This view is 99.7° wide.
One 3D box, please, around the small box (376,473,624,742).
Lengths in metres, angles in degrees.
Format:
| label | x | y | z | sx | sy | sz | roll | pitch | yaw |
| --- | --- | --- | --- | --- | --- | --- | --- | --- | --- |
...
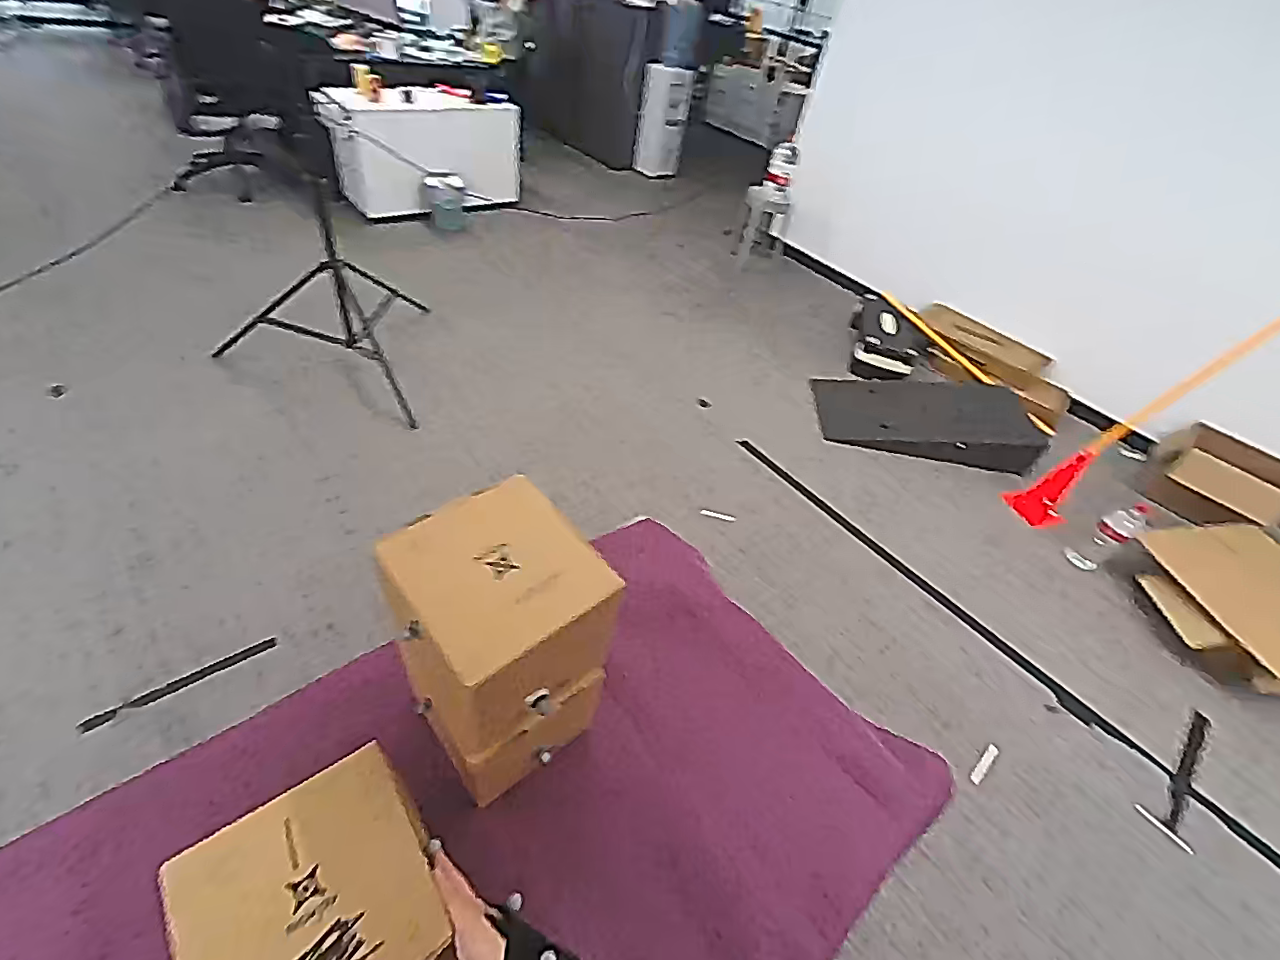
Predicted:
| label | x | y | z | sx | sy | sz | roll | pitch | yaw |
| --- | --- | --- | --- | --- | --- | --- | --- | --- | --- |
| small box | -0.143 | 0.131 | 0.560 | 0.168 | 0.176 | 0.179 | -30 | 60 | -33 |

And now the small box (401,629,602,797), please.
| label | x | y | z | sx | sy | sz | roll | pitch | yaw |
| --- | --- | --- | --- | --- | --- | --- | --- | --- | --- |
| small box | -0.170 | 0.248 | 0.669 | 0.168 | 0.176 | 0.179 | -27 | 58 | -32 |

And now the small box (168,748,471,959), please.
| label | x | y | z | sx | sy | sz | roll | pitch | yaw |
| --- | --- | --- | --- | --- | --- | --- | --- | --- | --- |
| small box | -0.262 | 0.381 | 0.474 | 0.168 | 0.176 | 0.179 | -24 | 56 | -30 |
